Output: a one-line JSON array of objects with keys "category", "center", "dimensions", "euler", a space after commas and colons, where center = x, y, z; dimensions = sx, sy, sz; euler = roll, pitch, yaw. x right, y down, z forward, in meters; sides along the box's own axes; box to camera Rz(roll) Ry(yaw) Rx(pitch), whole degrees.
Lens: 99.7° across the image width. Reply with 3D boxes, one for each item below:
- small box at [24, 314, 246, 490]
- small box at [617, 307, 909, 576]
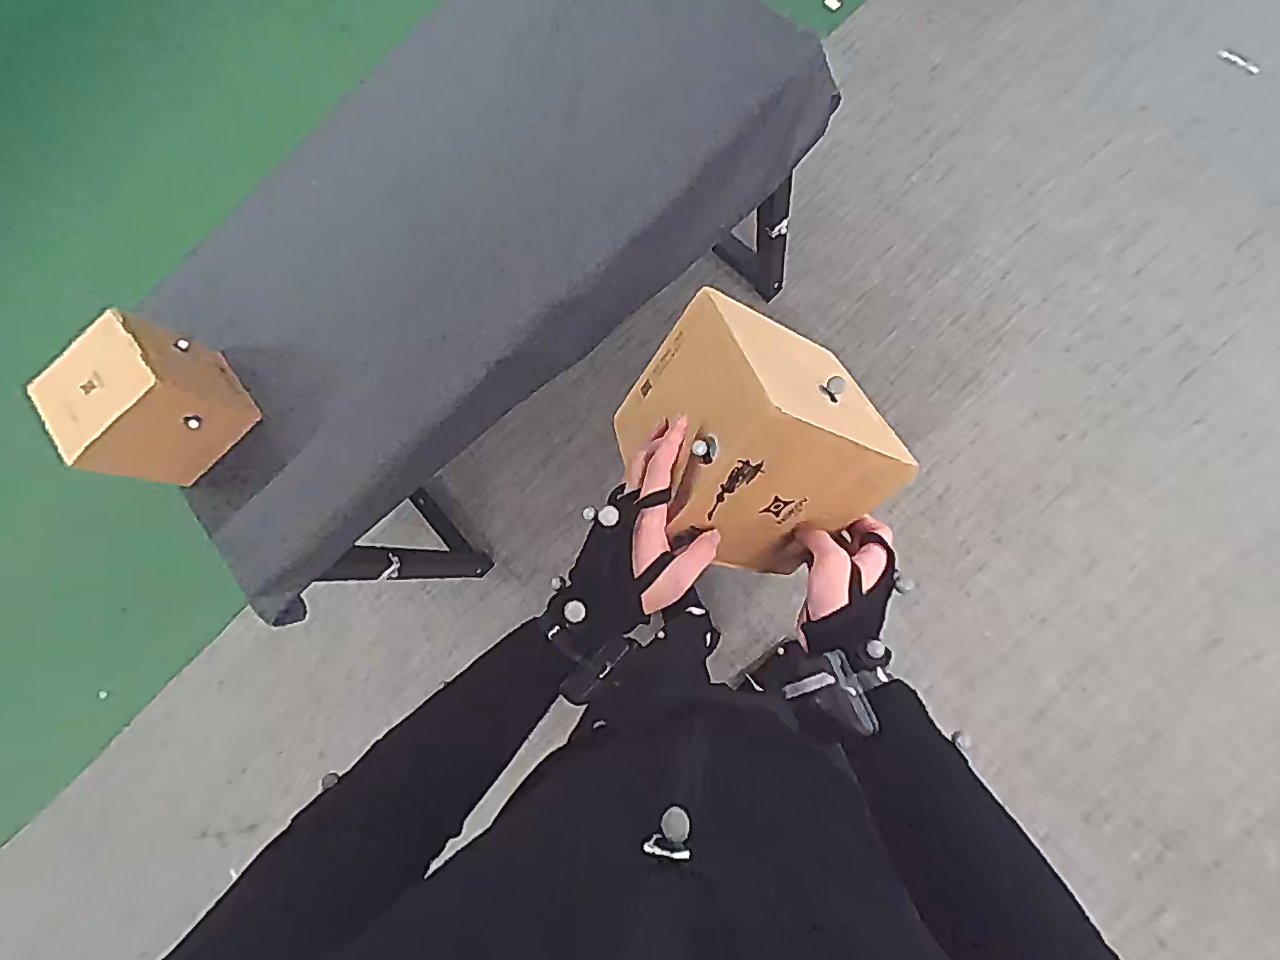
[{"category": "small box", "center": [-0.750, -0.109, 0.825], "dimensions": [0.179, 0.176, 0.168], "euler": [-41, 73, 2]}, {"category": "small box", "center": [0.101, -0.032, 0.509], "dimensions": [0.168, 0.179, 0.176], "euler": [-51, 39, 34]}]
